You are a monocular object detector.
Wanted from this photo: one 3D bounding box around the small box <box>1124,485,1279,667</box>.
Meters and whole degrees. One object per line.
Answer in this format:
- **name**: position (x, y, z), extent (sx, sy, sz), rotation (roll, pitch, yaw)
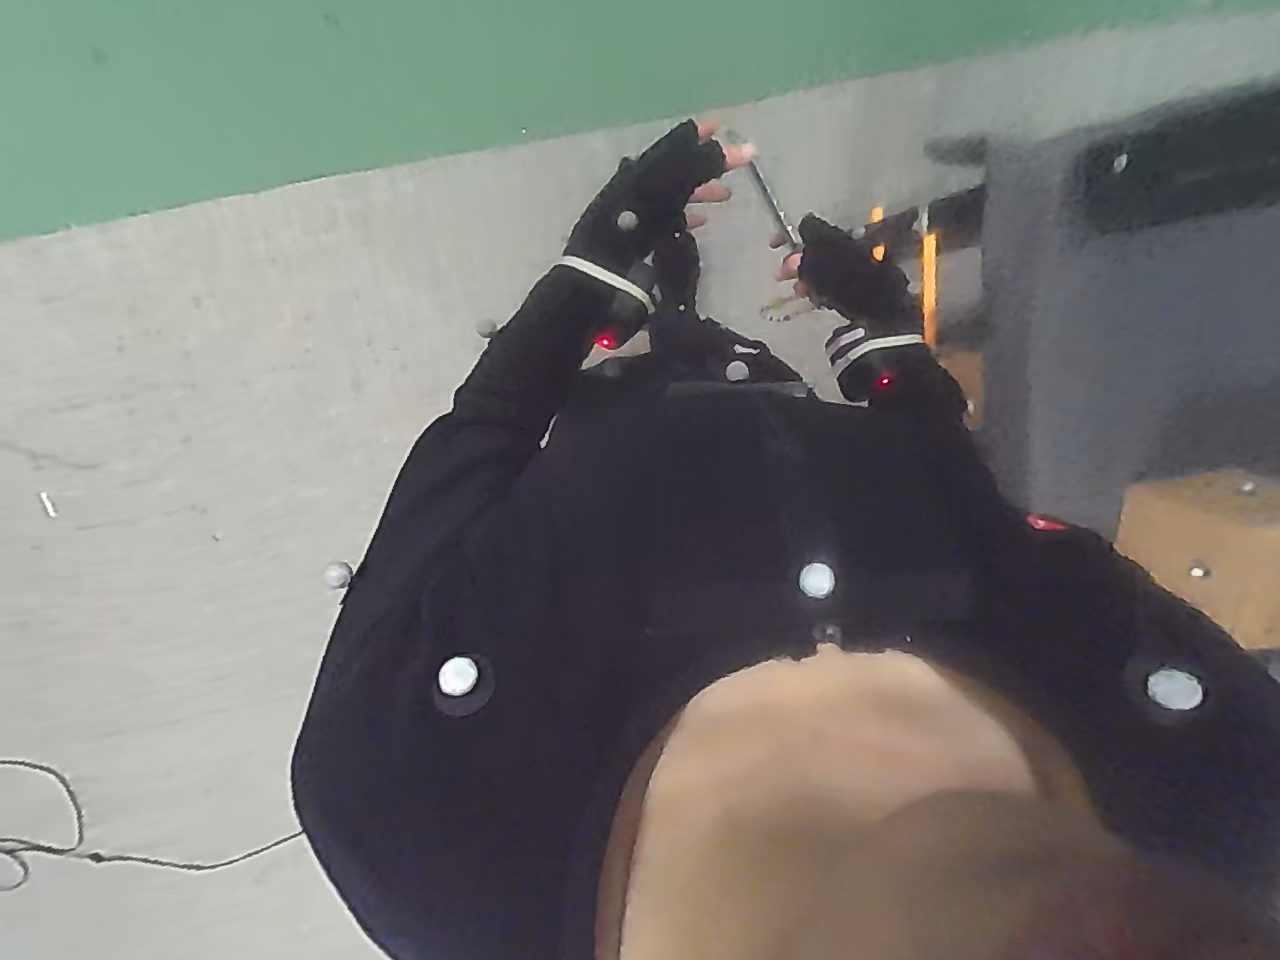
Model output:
- **small box**: position (0.794, 0.113, 0.712), extent (0.168, 0.176, 0.179), rotation (-8, 107, 0)
